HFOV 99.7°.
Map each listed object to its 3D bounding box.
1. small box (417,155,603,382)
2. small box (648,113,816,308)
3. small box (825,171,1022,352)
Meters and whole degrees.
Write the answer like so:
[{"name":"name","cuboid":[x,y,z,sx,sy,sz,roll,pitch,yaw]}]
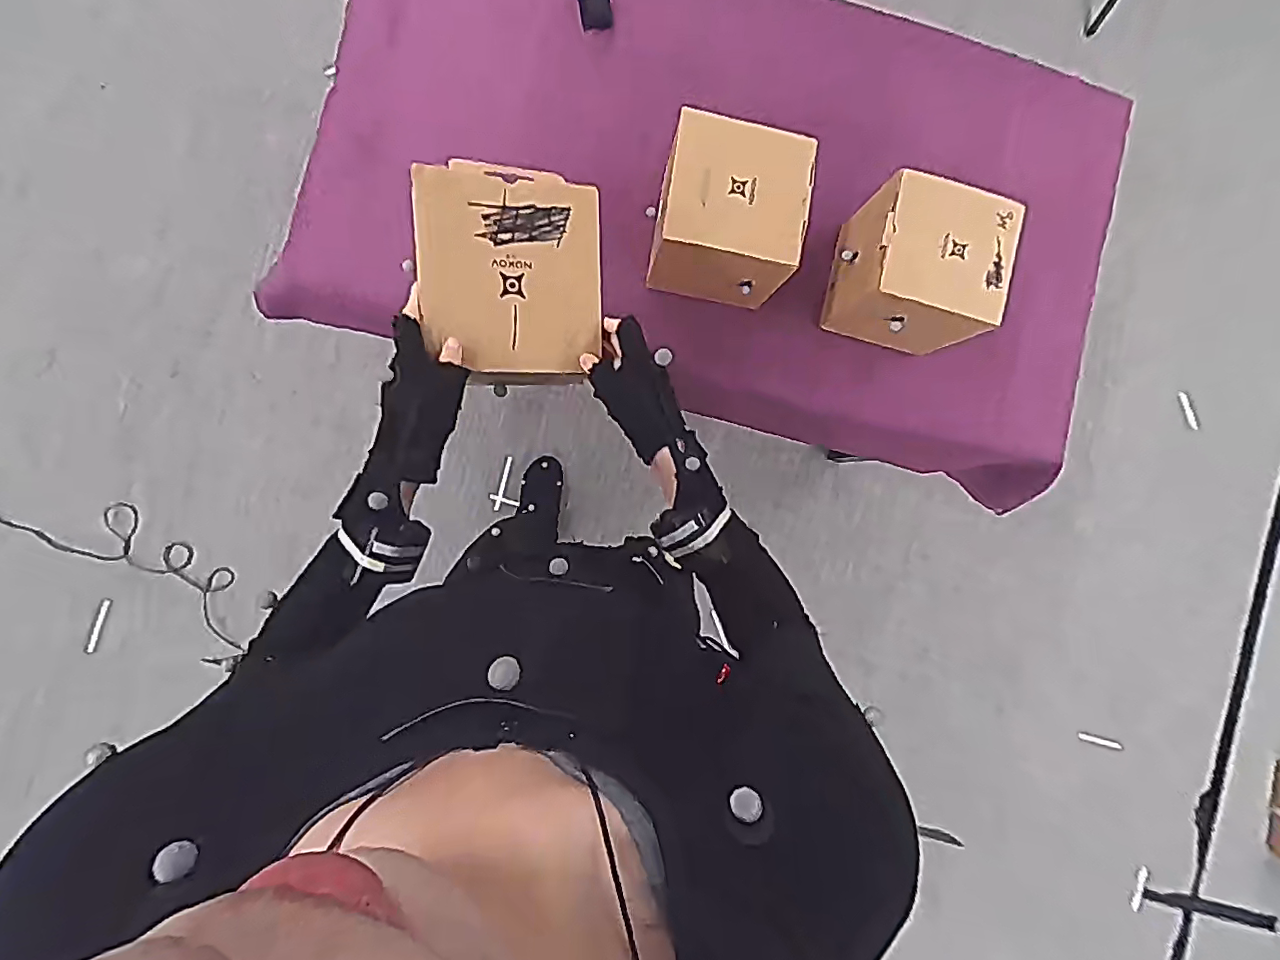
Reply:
[{"name":"small box","cuboid":[-0.140,-0.200,0.566,0.168,0.176,0.179,-3,96,-19]},{"name":"small box","cuboid":[0.115,-0.351,0.741,0.179,0.176,0.168,8,87,-5]},{"name":"small box","cuboid":[0.387,-0.295,0.770,0.179,0.176,0.168,13,88,-5]}]
